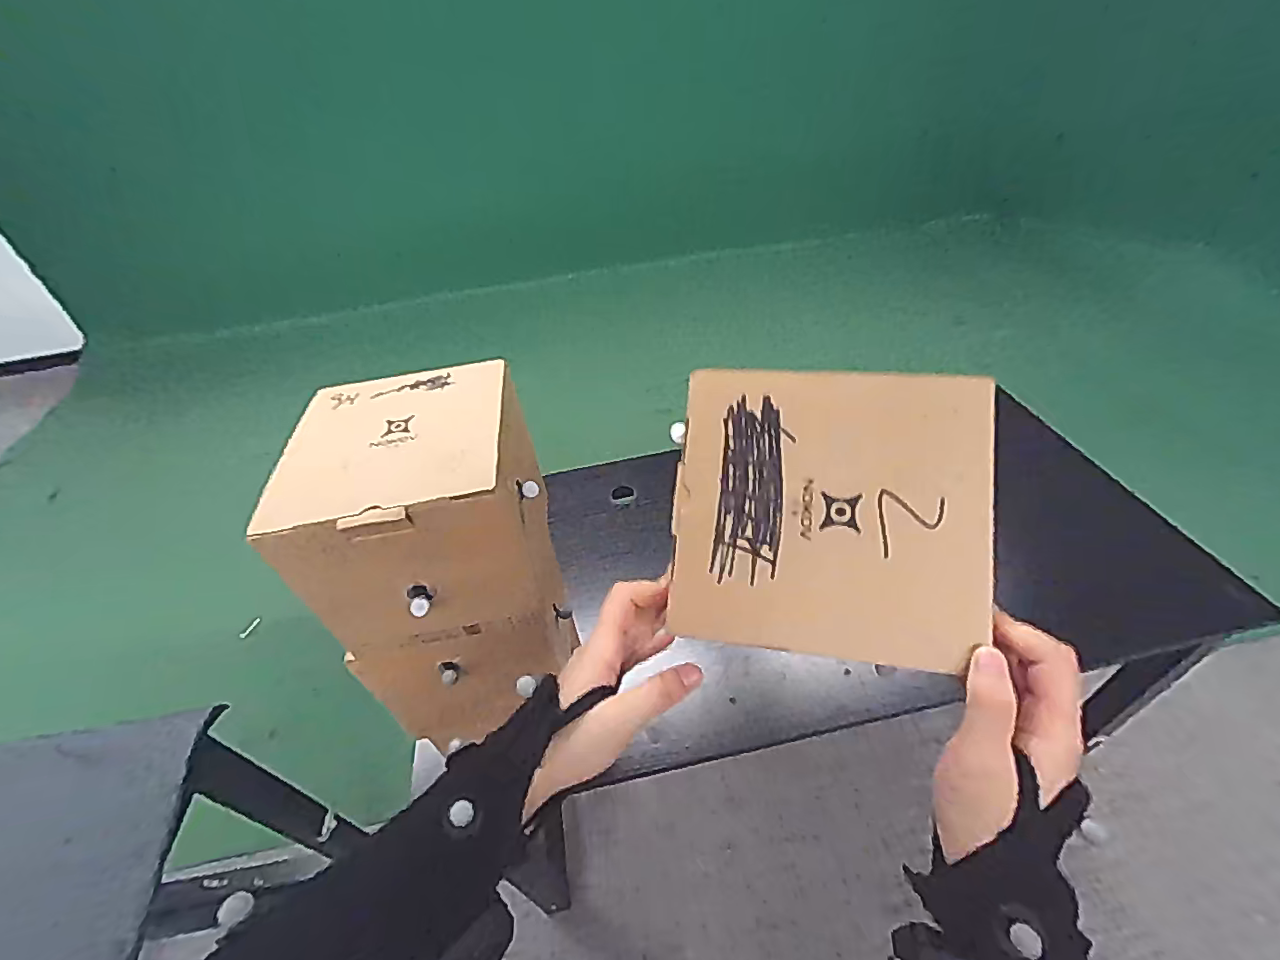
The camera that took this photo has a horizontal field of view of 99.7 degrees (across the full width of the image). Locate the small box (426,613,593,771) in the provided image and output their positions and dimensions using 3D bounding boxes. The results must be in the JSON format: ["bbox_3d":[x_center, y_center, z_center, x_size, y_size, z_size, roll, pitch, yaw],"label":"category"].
[{"bbox_3d":[-0.159,0.252,0.698,0.168,0.176,0.179,-10,43,-4],"label":"small box"}]

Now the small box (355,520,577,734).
[{"bbox_3d":[-0.166,0.144,0.577,0.179,0.176,0.168,-11,44,-4],"label":"small box"}]

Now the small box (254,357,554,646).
[{"bbox_3d":[-0.172,0.024,0.463,0.168,0.176,0.179,-11,44,-2],"label":"small box"}]
